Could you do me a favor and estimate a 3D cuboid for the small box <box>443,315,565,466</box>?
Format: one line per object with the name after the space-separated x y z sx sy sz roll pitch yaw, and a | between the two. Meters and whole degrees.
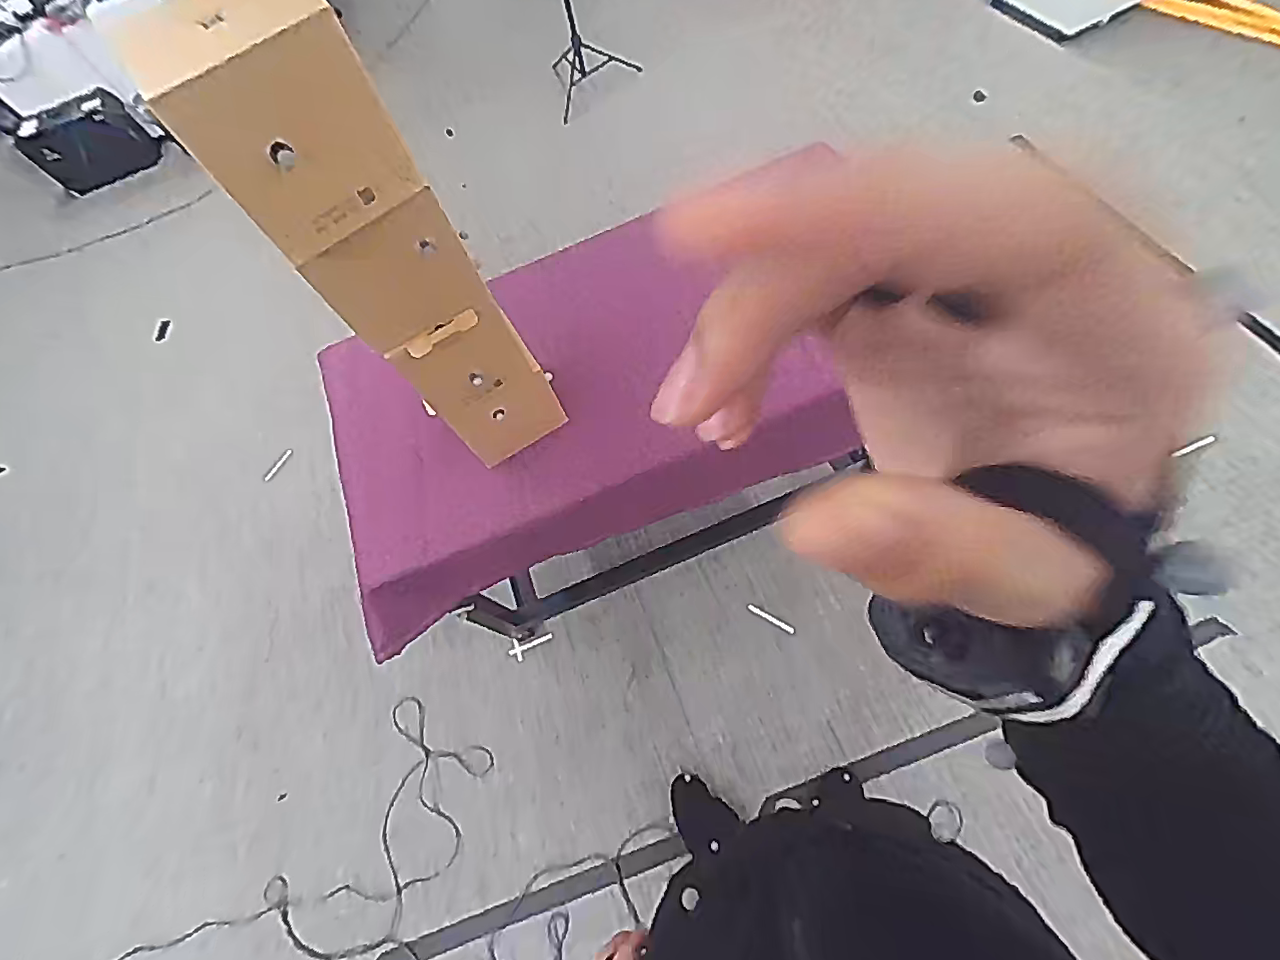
-0.261 -0.154 0.979 0.179 0.176 0.168 -32 64 -6 | small box

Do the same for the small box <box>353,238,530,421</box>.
-0.298 -0.224 0.834 0.168 0.176 0.179 -33 64 -5 | small box

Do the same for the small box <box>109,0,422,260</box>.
-0.353 -0.352 0.537 0.168 0.176 0.179 -38 64 -10 | small box
